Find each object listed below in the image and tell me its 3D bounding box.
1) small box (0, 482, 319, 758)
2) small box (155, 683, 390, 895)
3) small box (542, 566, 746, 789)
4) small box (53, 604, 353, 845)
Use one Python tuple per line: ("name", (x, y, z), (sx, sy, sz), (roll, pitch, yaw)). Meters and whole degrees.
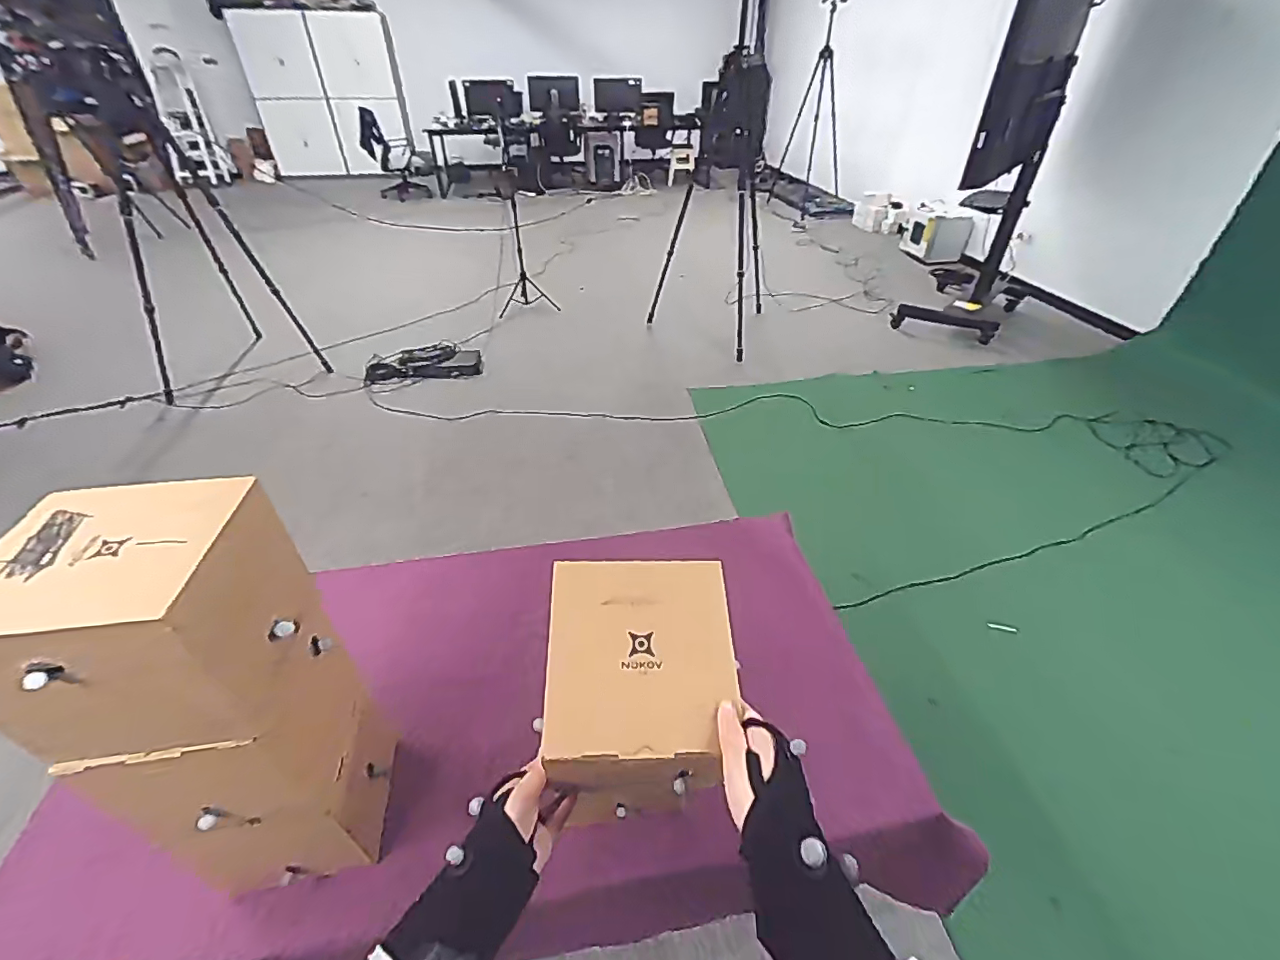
("small box", (-0.426, 0.123, 0.480), (0.179, 0.176, 0.168), (-4, 39, -7))
("small box", (-0.433, 0.385, 0.680), (0.179, 0.176, 0.168), (-6, 39, -10))
("small box", (-0.002, 0.201, 0.538), (0.168, 0.176, 0.179), (1, 53, -4))
("small box", (-0.432, 0.252, 0.581), (0.168, 0.176, 0.179), (-6, 39, -7))
